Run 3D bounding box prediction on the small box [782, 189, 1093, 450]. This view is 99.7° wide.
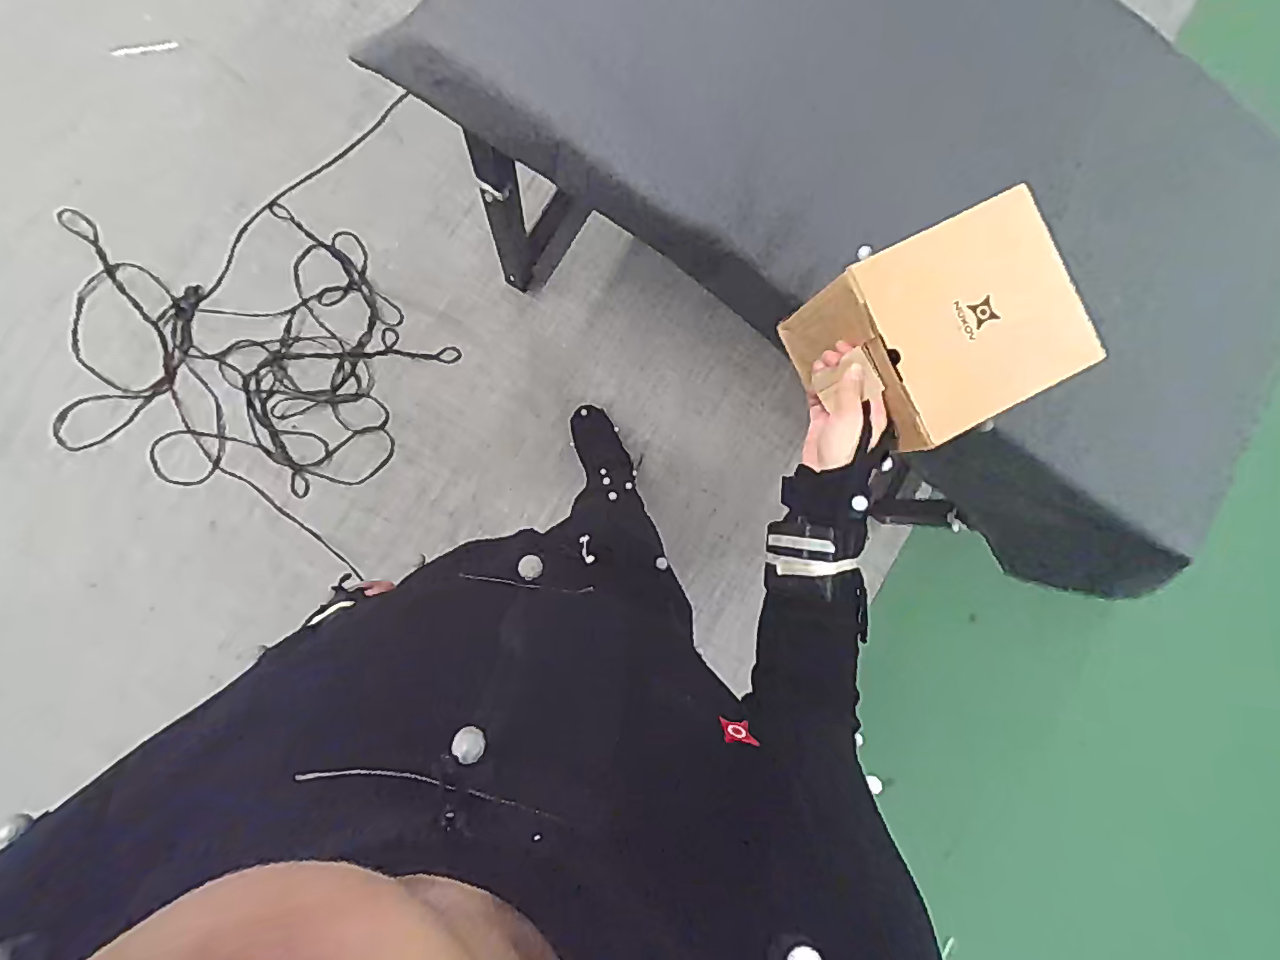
[{"bbox_3d":[0.274,-0.140,0.535,0.179,0.176,0.168,-28,93,-7],"label":"small box"}]
